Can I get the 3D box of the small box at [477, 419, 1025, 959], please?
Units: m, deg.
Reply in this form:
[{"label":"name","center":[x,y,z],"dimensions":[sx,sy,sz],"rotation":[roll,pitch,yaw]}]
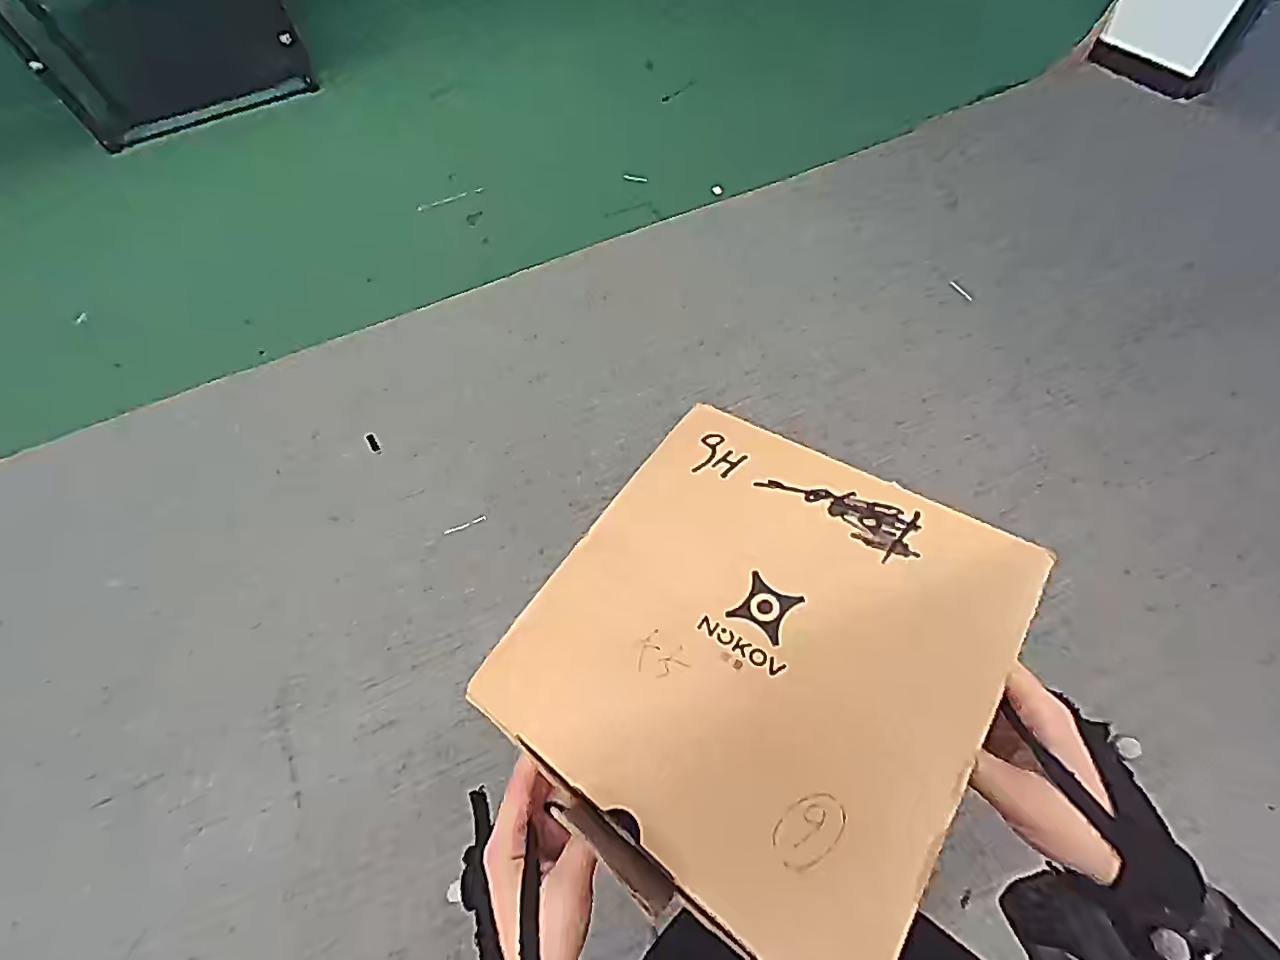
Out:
[{"label":"small box","center":[0.057,0.106,0.288],"dimensions":[0.168,0.176,0.179],"rotation":[28,66,26]}]
